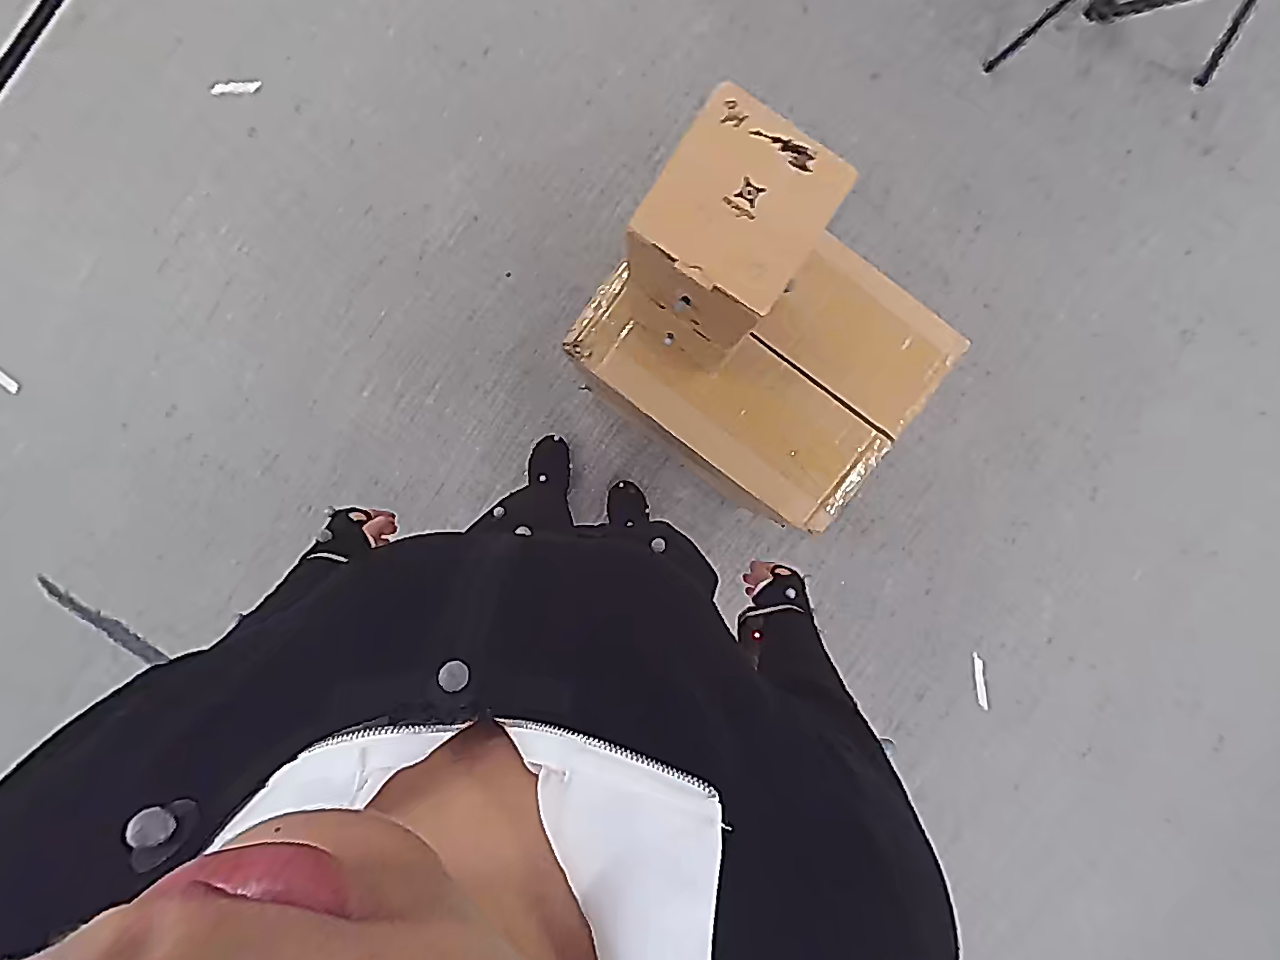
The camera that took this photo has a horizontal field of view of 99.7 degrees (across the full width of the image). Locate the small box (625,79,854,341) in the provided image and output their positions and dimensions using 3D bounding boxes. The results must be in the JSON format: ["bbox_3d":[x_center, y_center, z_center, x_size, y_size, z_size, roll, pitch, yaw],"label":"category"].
[{"bbox_3d":[0.100,-0.283,0.615,0.168,0.176,0.179,34,92,-2],"label":"small box"}]

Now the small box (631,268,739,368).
[{"bbox_3d":[0.099,-0.287,0.779,0.168,0.176,0.179,35,92,-2],"label":"small box"}]
